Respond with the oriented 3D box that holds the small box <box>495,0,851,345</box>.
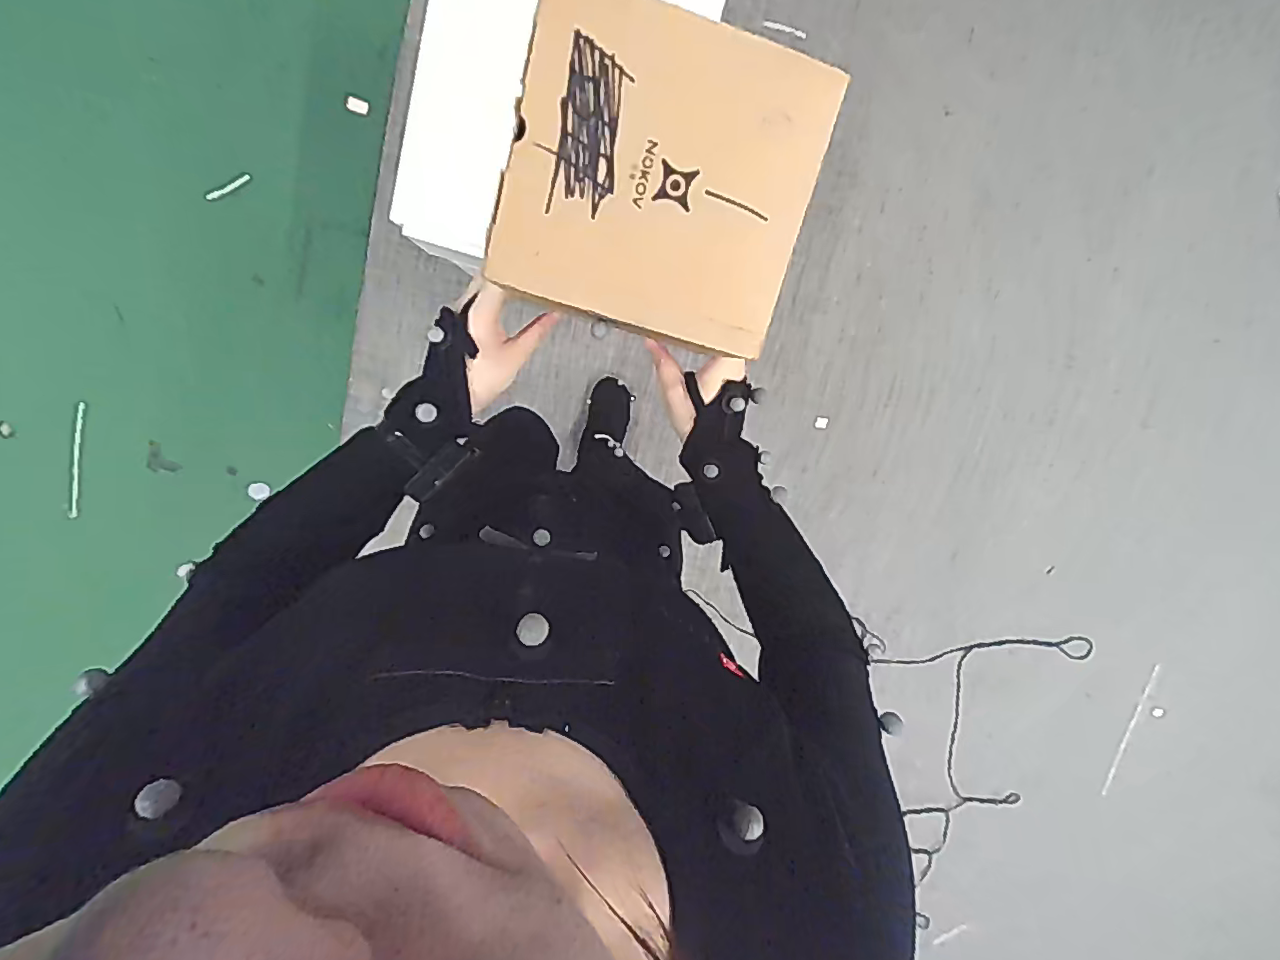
[{"bbox_3d":[0.012,-0.202,0.395,0.179,0.176,0.168,15,103,-9],"label":"small box"}]
